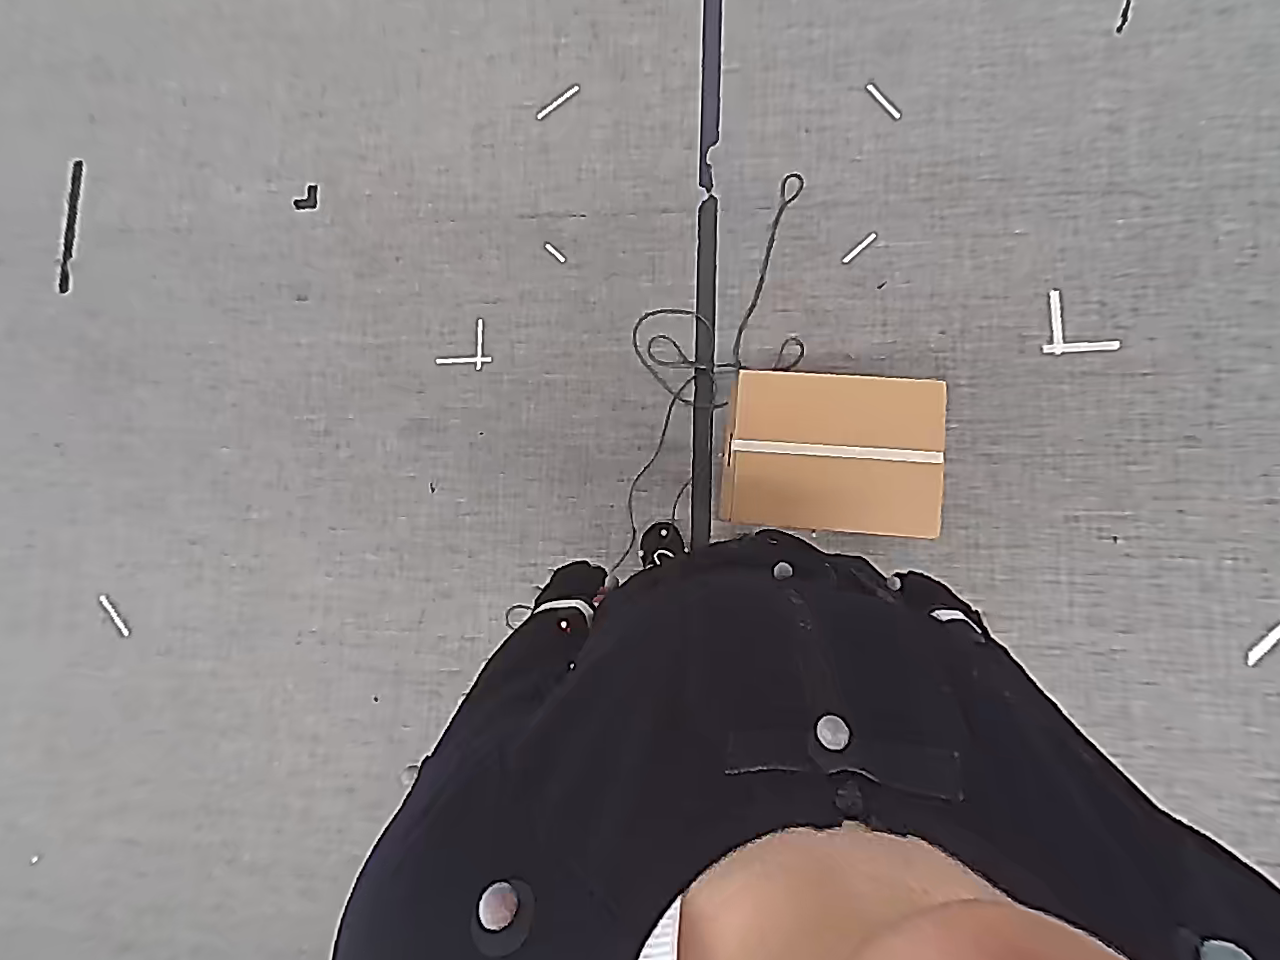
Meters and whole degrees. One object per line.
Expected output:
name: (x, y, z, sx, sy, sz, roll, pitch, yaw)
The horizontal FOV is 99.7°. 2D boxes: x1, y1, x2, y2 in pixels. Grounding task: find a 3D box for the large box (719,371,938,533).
large box: (0.395, -0.049, 1.227, 0.408, 0.320, 0.320, 4, 87, 5)
